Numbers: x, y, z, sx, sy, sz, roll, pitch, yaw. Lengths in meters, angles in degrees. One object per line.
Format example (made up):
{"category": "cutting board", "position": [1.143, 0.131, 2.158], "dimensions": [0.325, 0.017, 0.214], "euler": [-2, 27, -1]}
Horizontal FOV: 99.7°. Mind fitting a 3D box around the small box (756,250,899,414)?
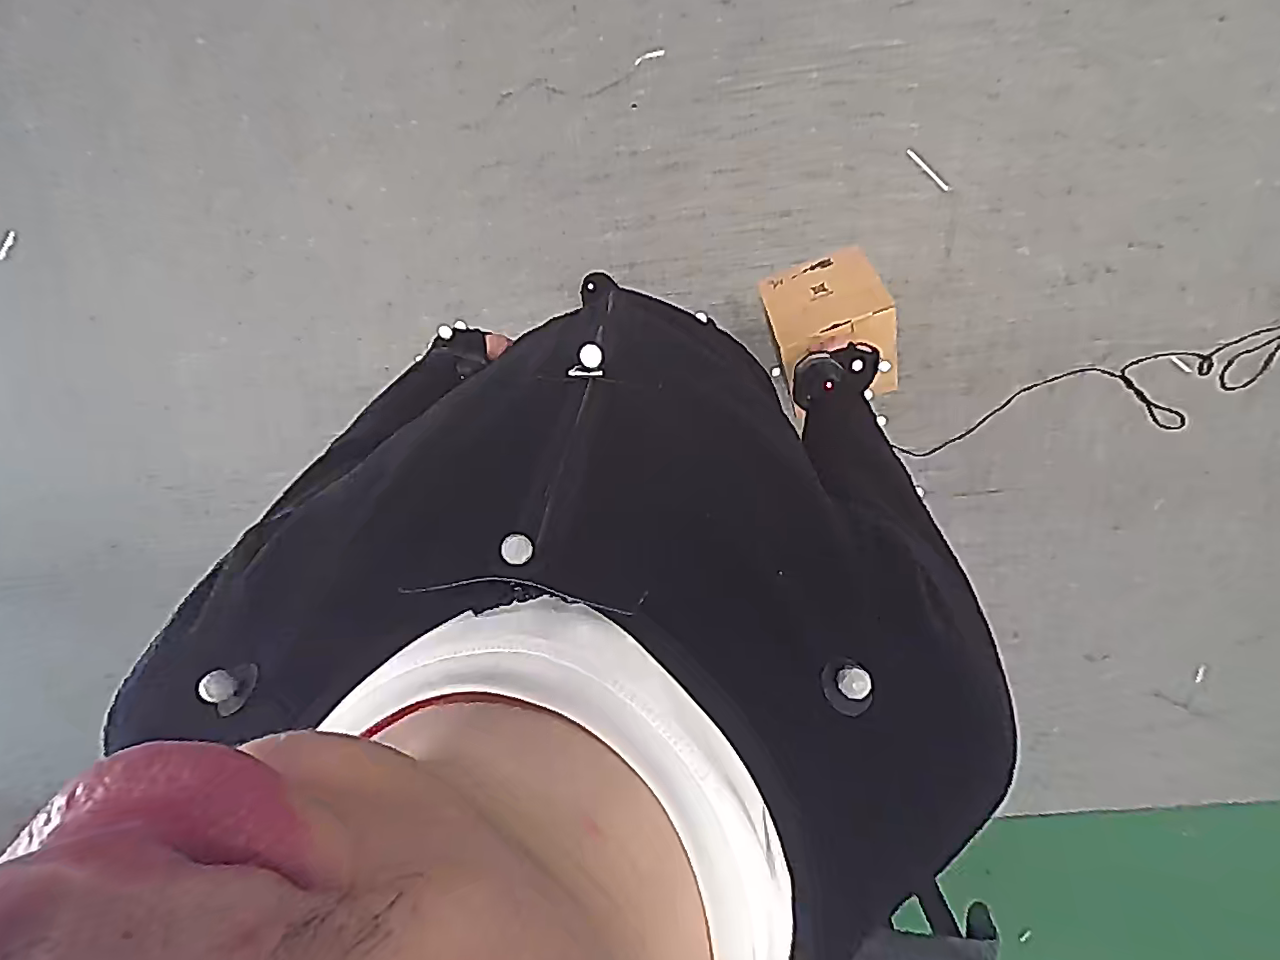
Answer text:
{"category": "small box", "position": [0.306, -0.229, 0.882], "dimensions": [0.168, 0.179, 0.176], "euler": [-20, 139, 16]}
